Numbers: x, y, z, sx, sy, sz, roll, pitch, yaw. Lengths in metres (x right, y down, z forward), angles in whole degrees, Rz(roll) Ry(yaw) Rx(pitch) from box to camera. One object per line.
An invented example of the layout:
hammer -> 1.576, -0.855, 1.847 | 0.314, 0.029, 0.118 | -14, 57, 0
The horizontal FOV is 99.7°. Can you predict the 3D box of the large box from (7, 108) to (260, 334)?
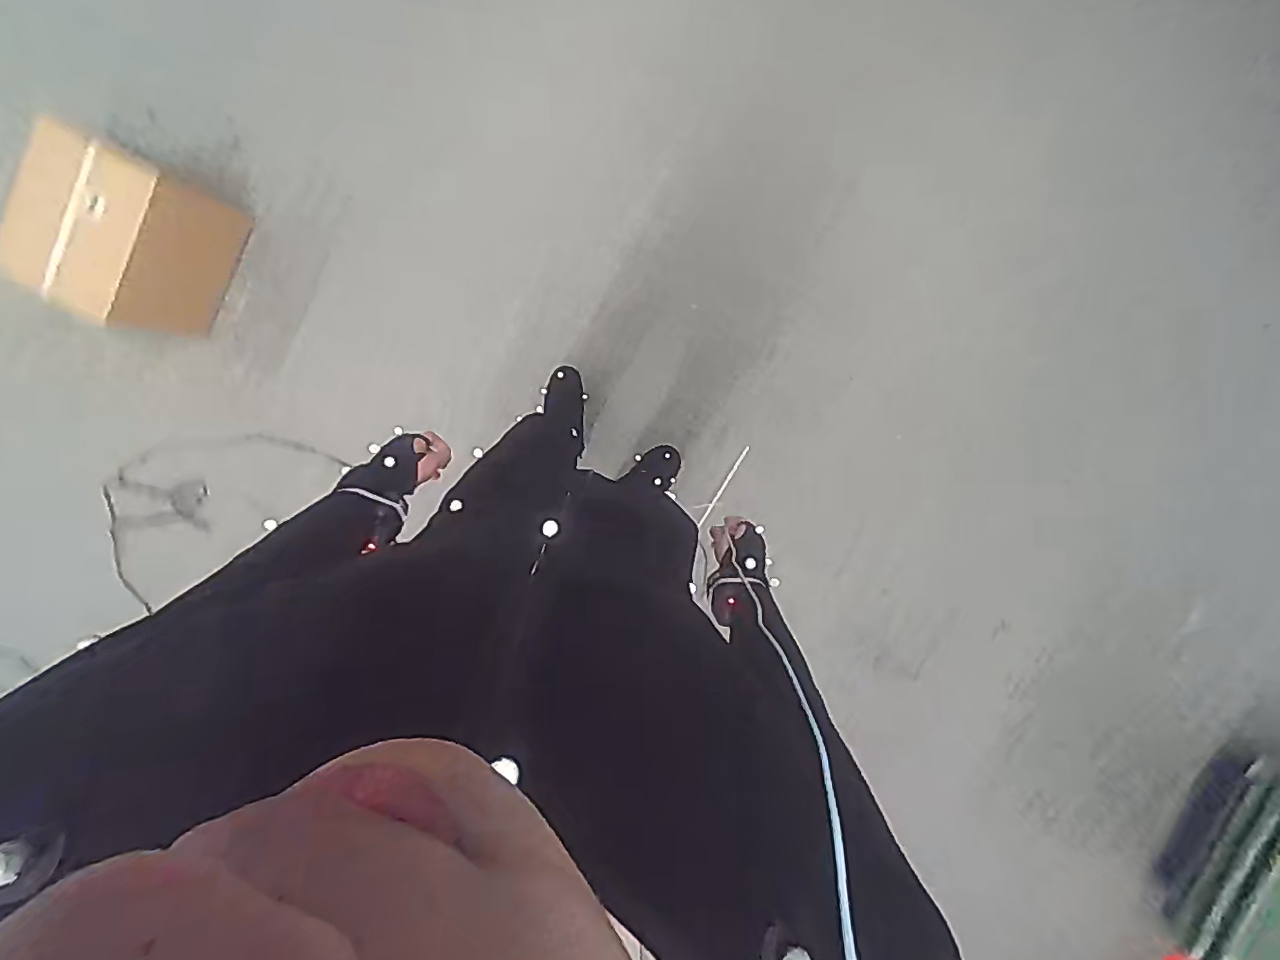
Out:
large box -> -1.341, -0.661, 1.463 | 0.320, 0.320, 0.408 | 29, 98, -2
